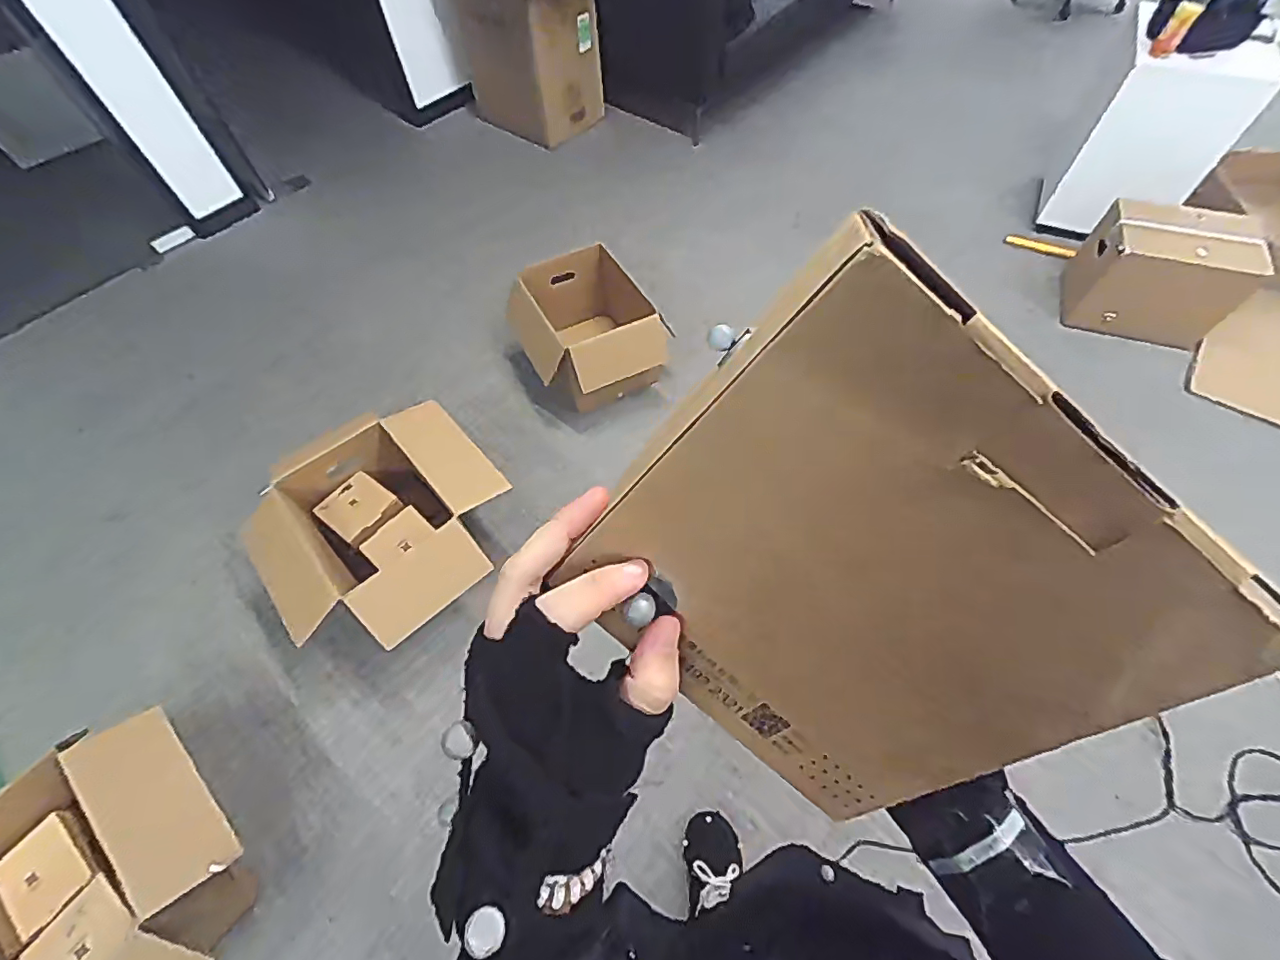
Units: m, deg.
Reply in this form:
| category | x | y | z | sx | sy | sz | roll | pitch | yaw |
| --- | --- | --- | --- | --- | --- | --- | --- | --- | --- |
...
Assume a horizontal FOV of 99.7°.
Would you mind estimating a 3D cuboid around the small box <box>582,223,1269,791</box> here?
| category | x | y | z | sx | sy | sz | roll | pitch | yaw |
| --- | --- | --- | --- | --- | --- | --- | --- | --- | --- |
| small box | 0.096 | 0.008 | 0.260 | 0.168 | 0.176 | 0.179 | 41 | 33 | -4 |
